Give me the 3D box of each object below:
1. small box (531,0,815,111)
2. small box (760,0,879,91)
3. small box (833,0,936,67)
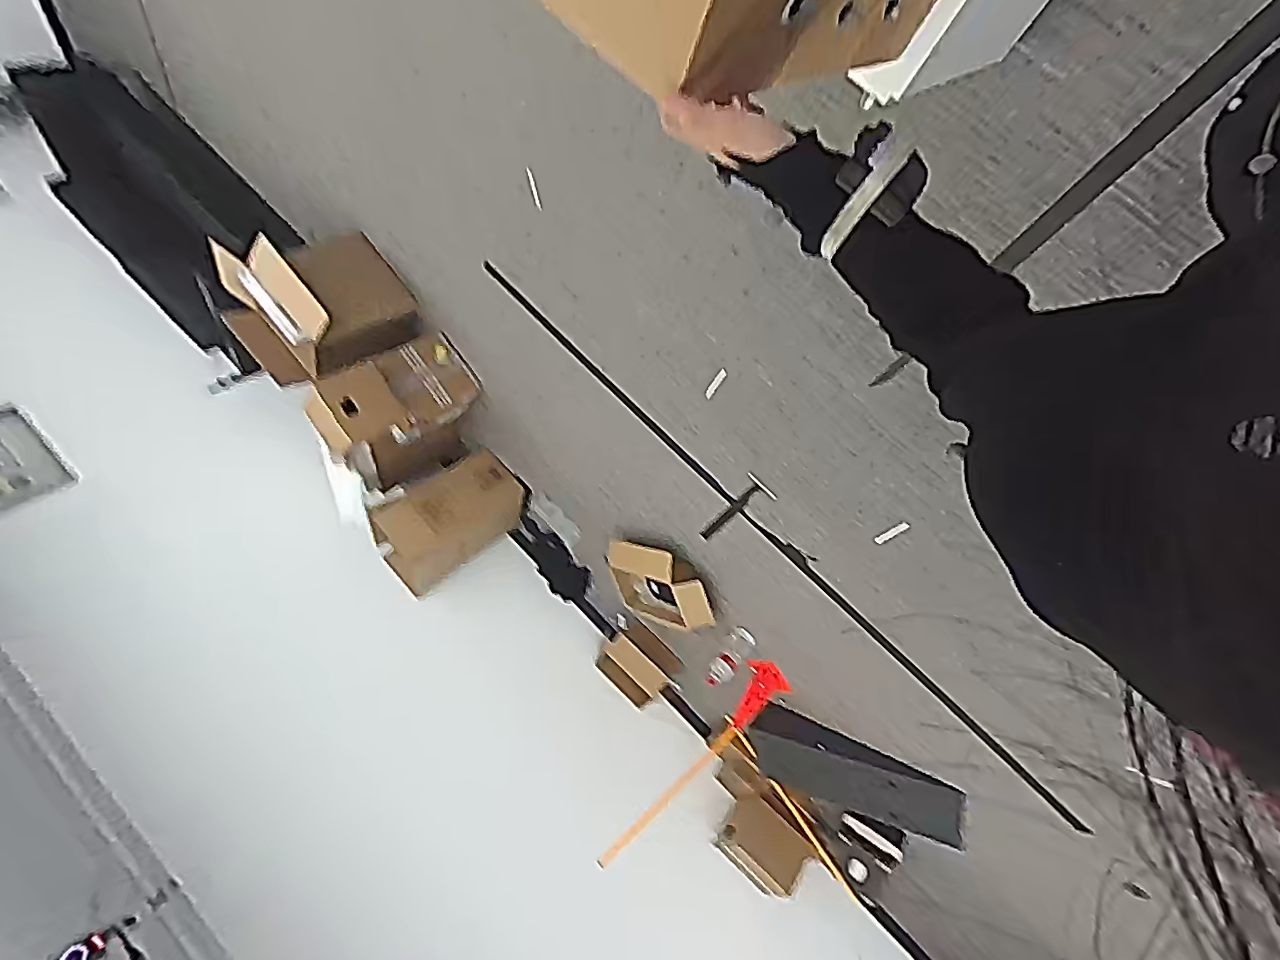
[{"bbox_3d":[0.037,-0.422,0.409,0.179,0.176,0.168,44,146,8],"label":"small box"},{"bbox_3d":[0.142,-0.508,0.500,0.179,0.176,0.168,45,145,9],"label":"small box"},{"bbox_3d":[0.244,-0.595,0.593,0.179,0.176,0.168,46,145,8],"label":"small box"}]
